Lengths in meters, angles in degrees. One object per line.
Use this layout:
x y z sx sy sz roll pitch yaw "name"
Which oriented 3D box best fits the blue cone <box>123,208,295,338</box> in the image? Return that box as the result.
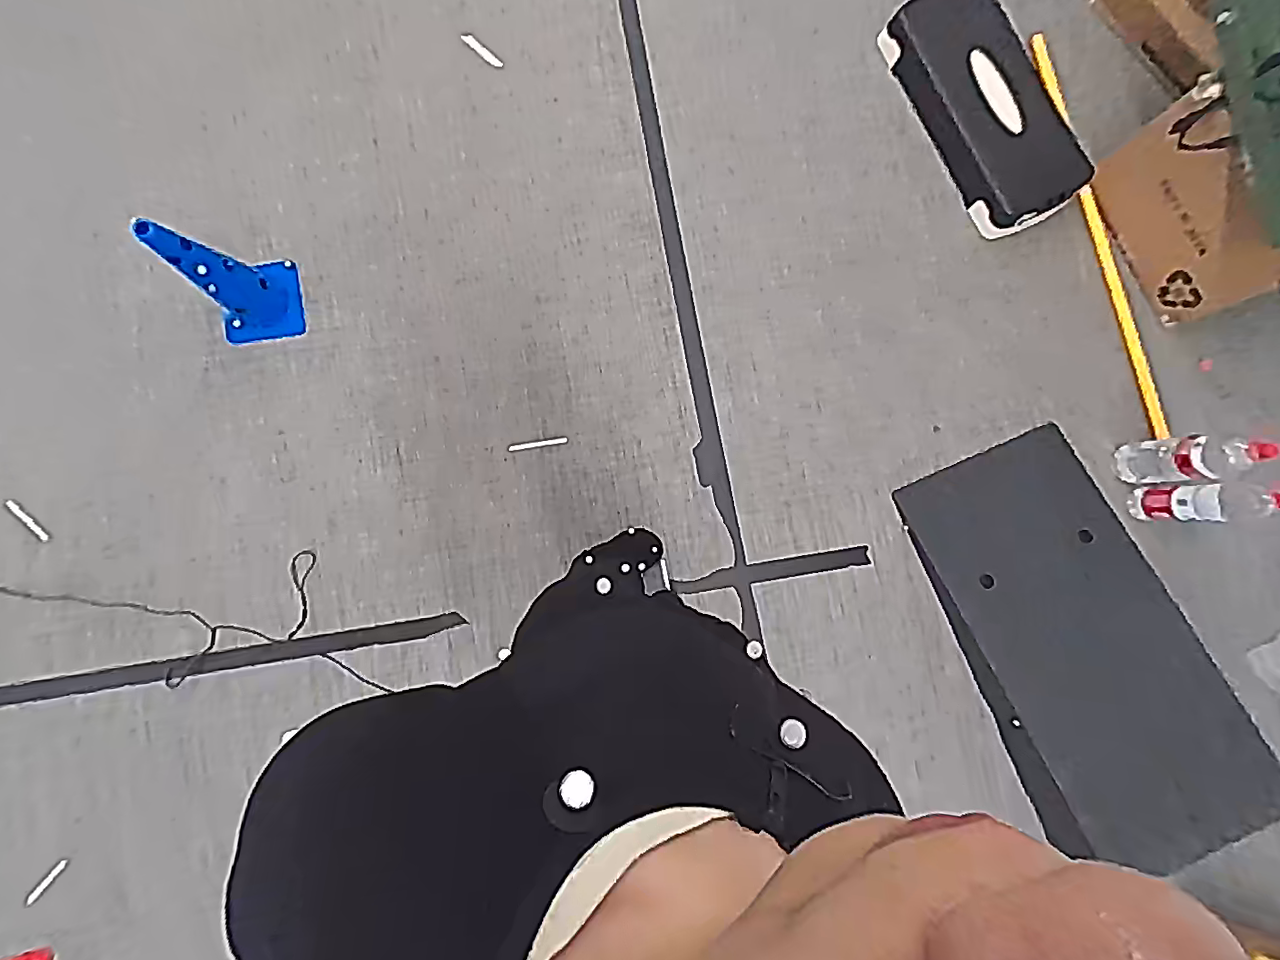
-0.969 -0.473 1.207 0.193 0.380 0.192 -8 85 -3 "blue cone"
